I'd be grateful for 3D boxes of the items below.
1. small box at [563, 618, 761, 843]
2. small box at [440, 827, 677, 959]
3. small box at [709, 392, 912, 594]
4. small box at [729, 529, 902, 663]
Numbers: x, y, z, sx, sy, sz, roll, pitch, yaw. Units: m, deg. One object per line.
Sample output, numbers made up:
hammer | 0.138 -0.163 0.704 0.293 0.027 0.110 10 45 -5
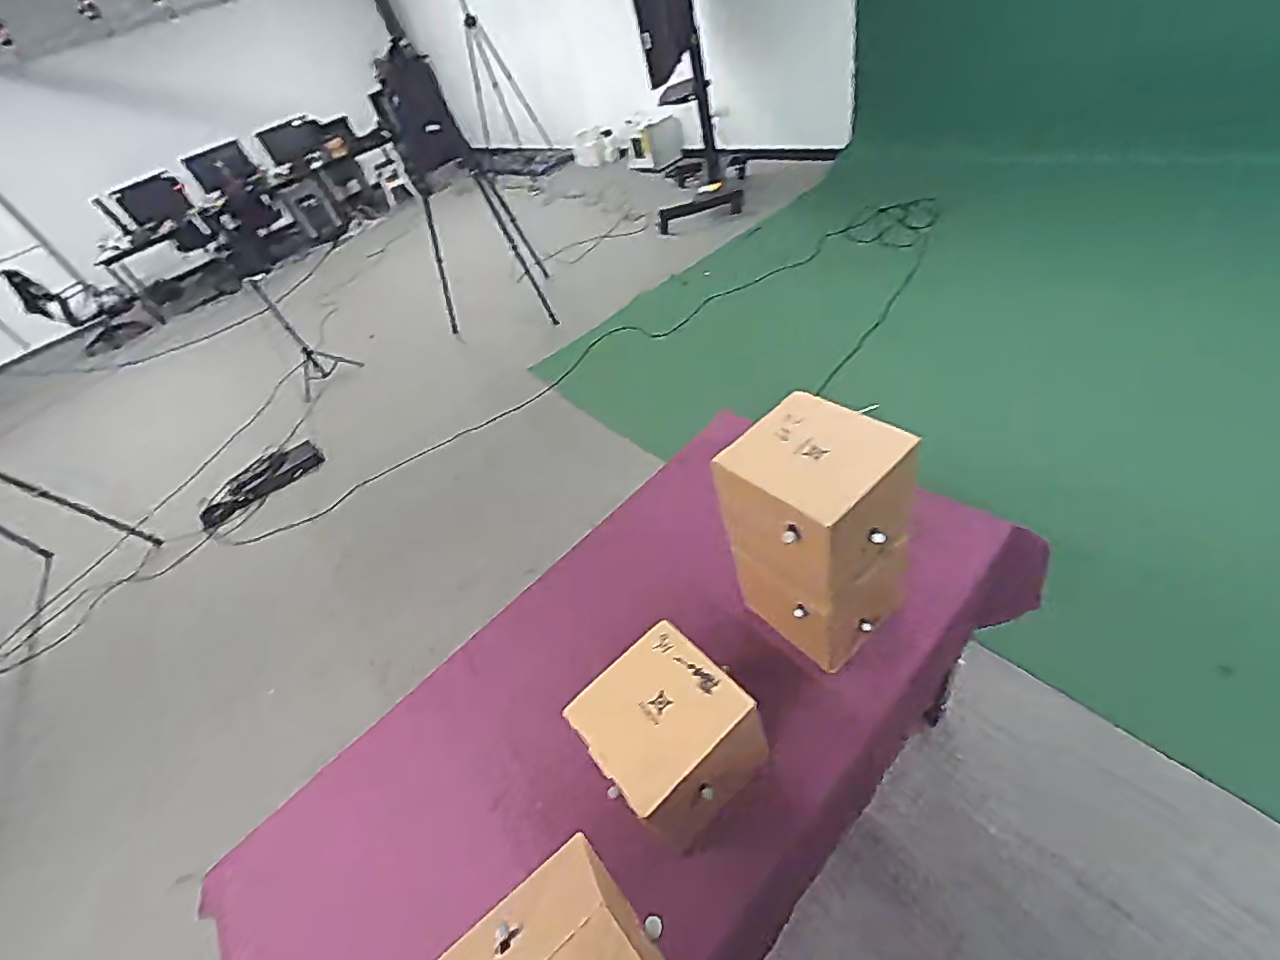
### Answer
small box | 0.036 0.324 0.700 0.179 0.176 0.168 -38 45 -18
small box | -0.056 0.417 0.414 0.179 0.176 0.168 -34 83 -20
small box | 0.218 0.021 0.699 0.168 0.176 0.179 -38 45 -19
small box | 0.260 0.136 0.809 0.168 0.176 0.179 -38 45 -18
